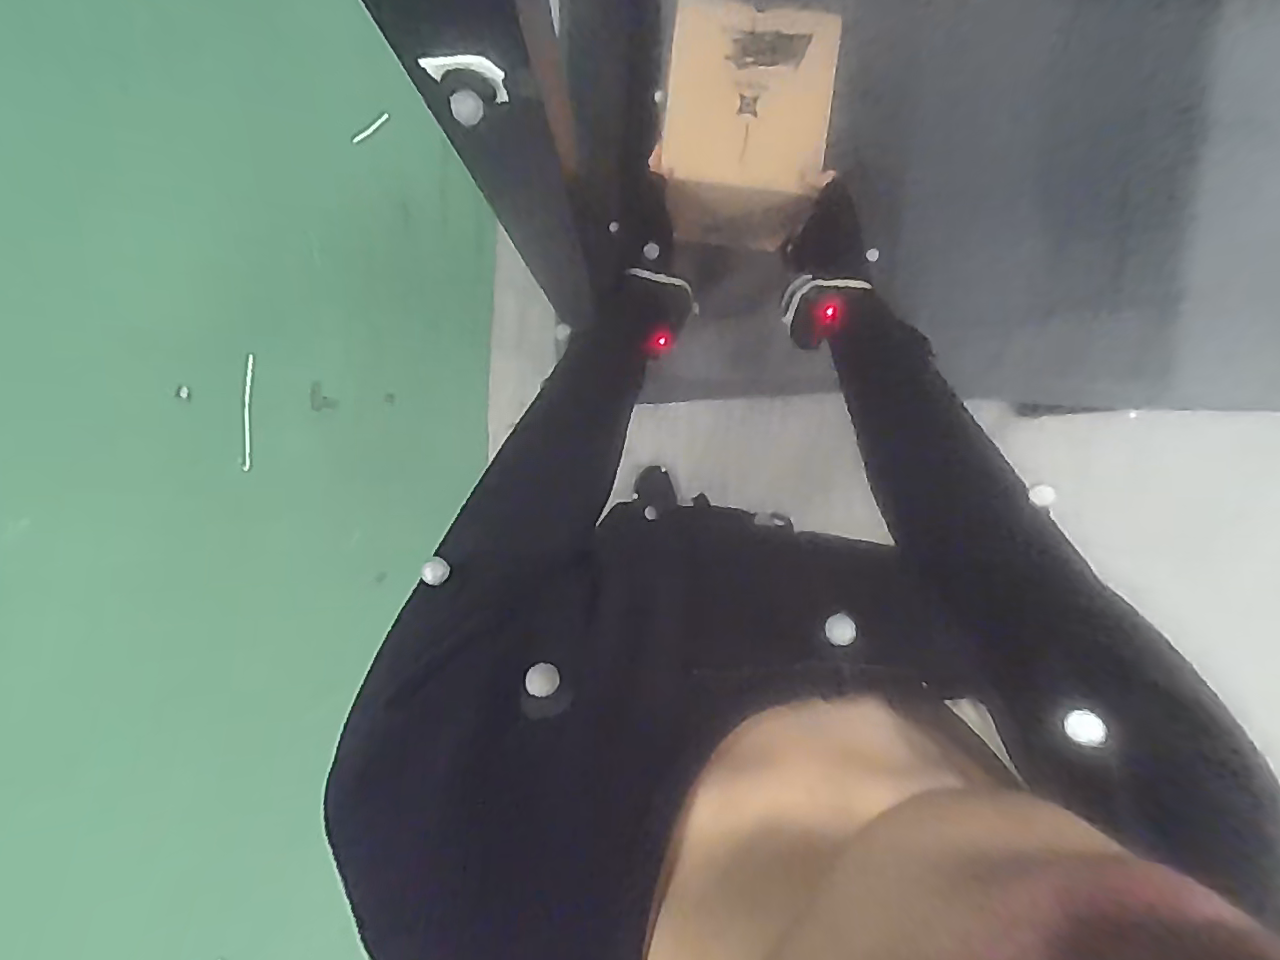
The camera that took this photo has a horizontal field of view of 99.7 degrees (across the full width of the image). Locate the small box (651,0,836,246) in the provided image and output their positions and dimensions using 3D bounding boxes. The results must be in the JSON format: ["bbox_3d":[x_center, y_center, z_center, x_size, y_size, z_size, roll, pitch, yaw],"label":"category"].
[{"bbox_3d":[0.105,-0.396,0.623,0.168,0.176,0.179,6,95,-2],"label":"small box"}]
